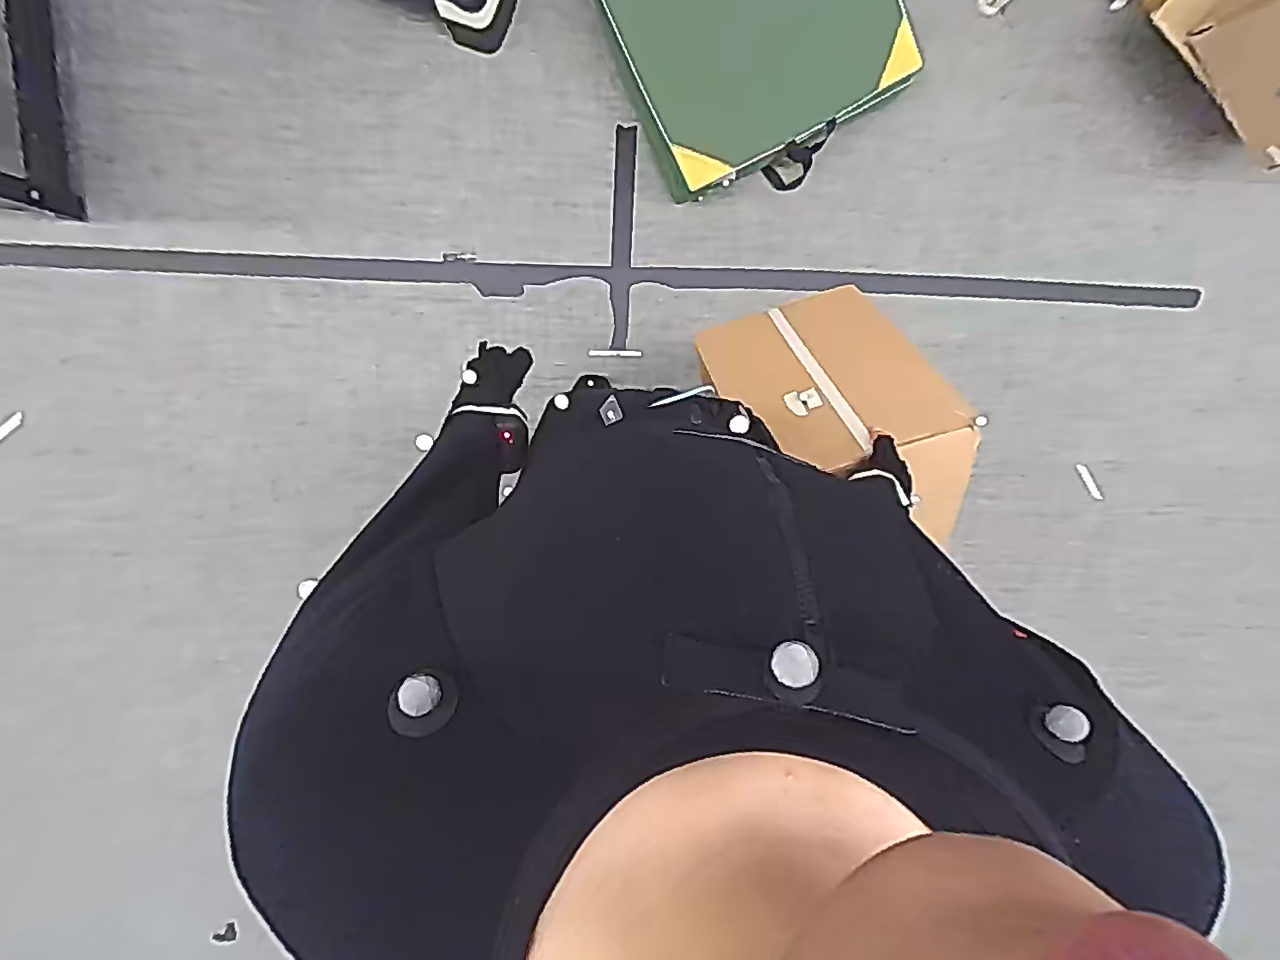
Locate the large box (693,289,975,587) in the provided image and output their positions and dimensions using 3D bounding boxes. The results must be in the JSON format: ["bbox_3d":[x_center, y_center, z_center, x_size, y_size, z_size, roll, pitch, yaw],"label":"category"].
[{"bbox_3d":[0.316,-0.080,0.997,0.320,0.408,0.320,-18,138,4],"label":"large box"}]
